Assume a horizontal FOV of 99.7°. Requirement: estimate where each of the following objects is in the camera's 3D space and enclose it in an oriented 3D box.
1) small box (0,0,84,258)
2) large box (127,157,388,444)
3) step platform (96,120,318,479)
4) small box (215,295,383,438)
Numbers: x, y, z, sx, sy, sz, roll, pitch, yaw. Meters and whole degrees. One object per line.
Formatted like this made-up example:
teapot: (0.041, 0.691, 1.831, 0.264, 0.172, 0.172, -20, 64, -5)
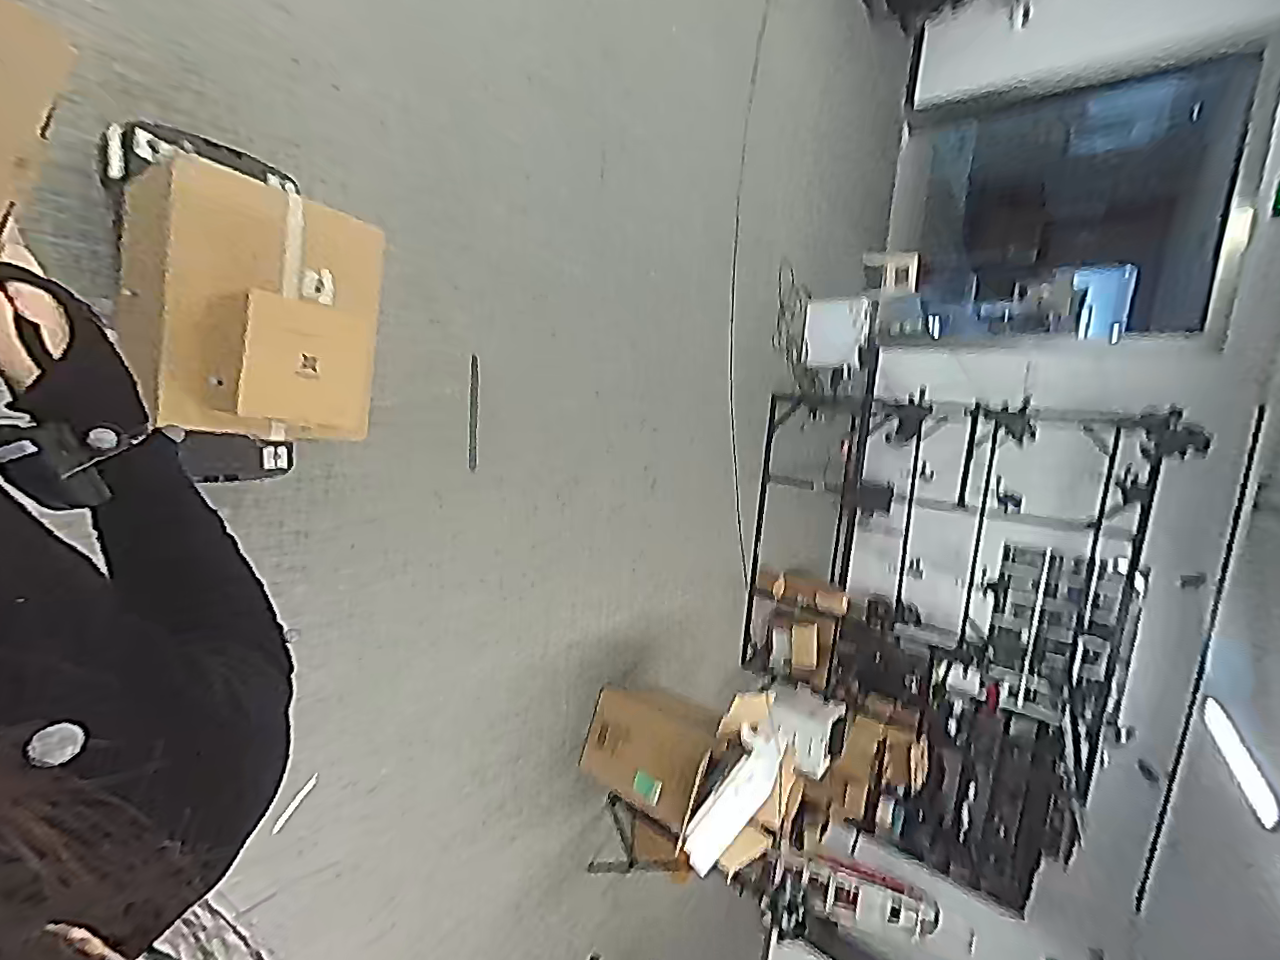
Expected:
small box: (-0.452, -0.229, 0.258, 0.168, 0.176, 0.179, -60, 169, 7)
large box: (-0.701, -0.282, 0.992, 0.320, 0.320, 0.408, 2, 96, -54)
step platform: (-0.890, -0.342, 1.128, 0.286, 0.204, 0.684, 5, 93, -54)
small box: (-0.529, -0.169, 0.836, 0.168, 0.176, 0.179, 6, 92, -53)
